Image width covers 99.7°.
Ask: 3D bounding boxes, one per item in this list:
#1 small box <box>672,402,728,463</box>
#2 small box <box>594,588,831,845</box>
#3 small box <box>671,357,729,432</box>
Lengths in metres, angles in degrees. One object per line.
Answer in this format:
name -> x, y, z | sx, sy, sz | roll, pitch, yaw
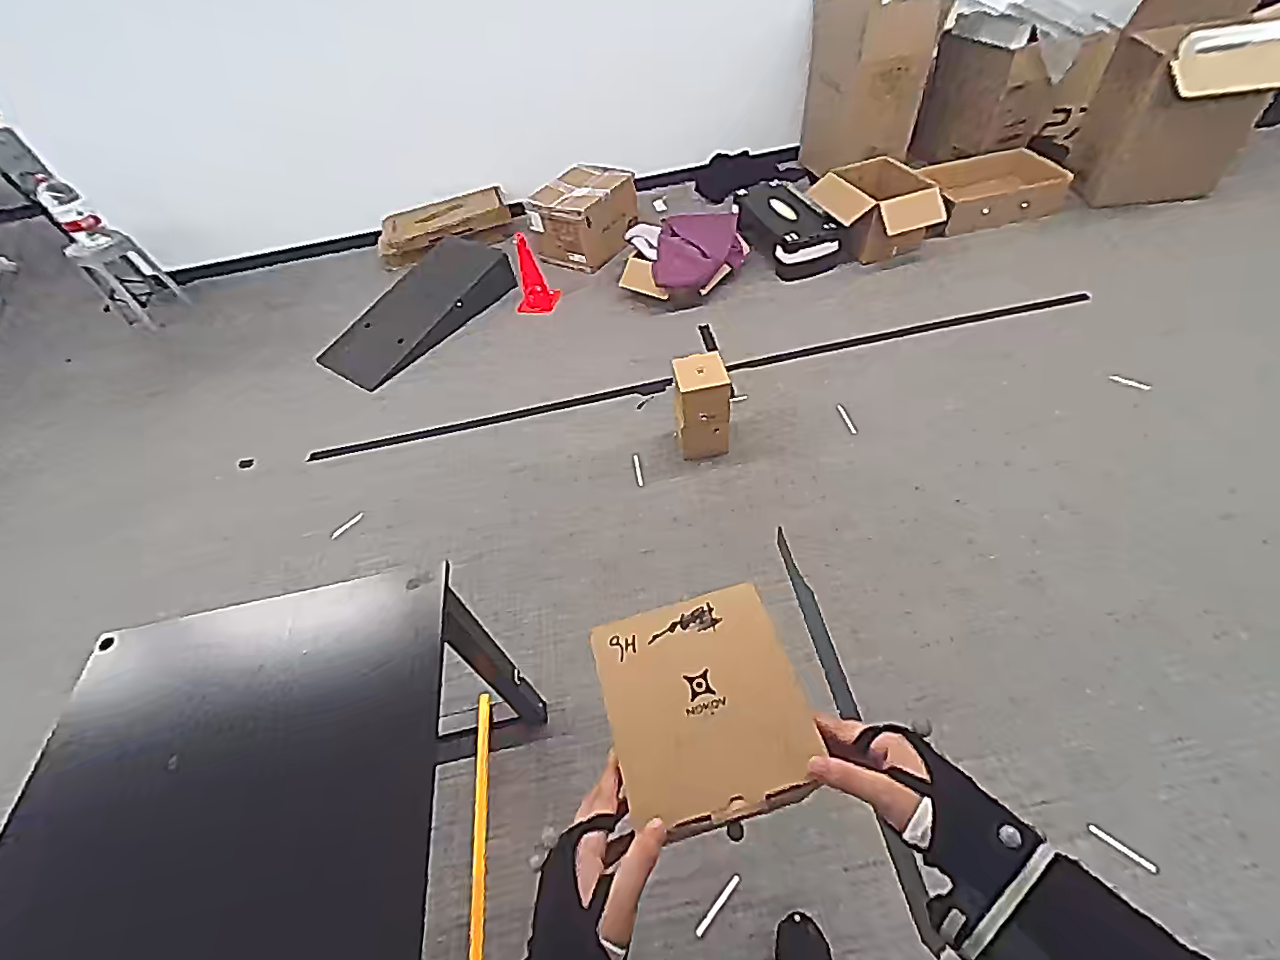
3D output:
small box -> 0.220, -0.184, 1.981 | 0.179, 0.176, 0.168 | -10, 49, 1
small box -> 0.063, 0.238, 0.537 | 0.168, 0.176, 0.179 | -15, 55, -5
small box -> 0.206, -0.293, 1.860 | 0.168, 0.176, 0.179 | -12, 51, 0
